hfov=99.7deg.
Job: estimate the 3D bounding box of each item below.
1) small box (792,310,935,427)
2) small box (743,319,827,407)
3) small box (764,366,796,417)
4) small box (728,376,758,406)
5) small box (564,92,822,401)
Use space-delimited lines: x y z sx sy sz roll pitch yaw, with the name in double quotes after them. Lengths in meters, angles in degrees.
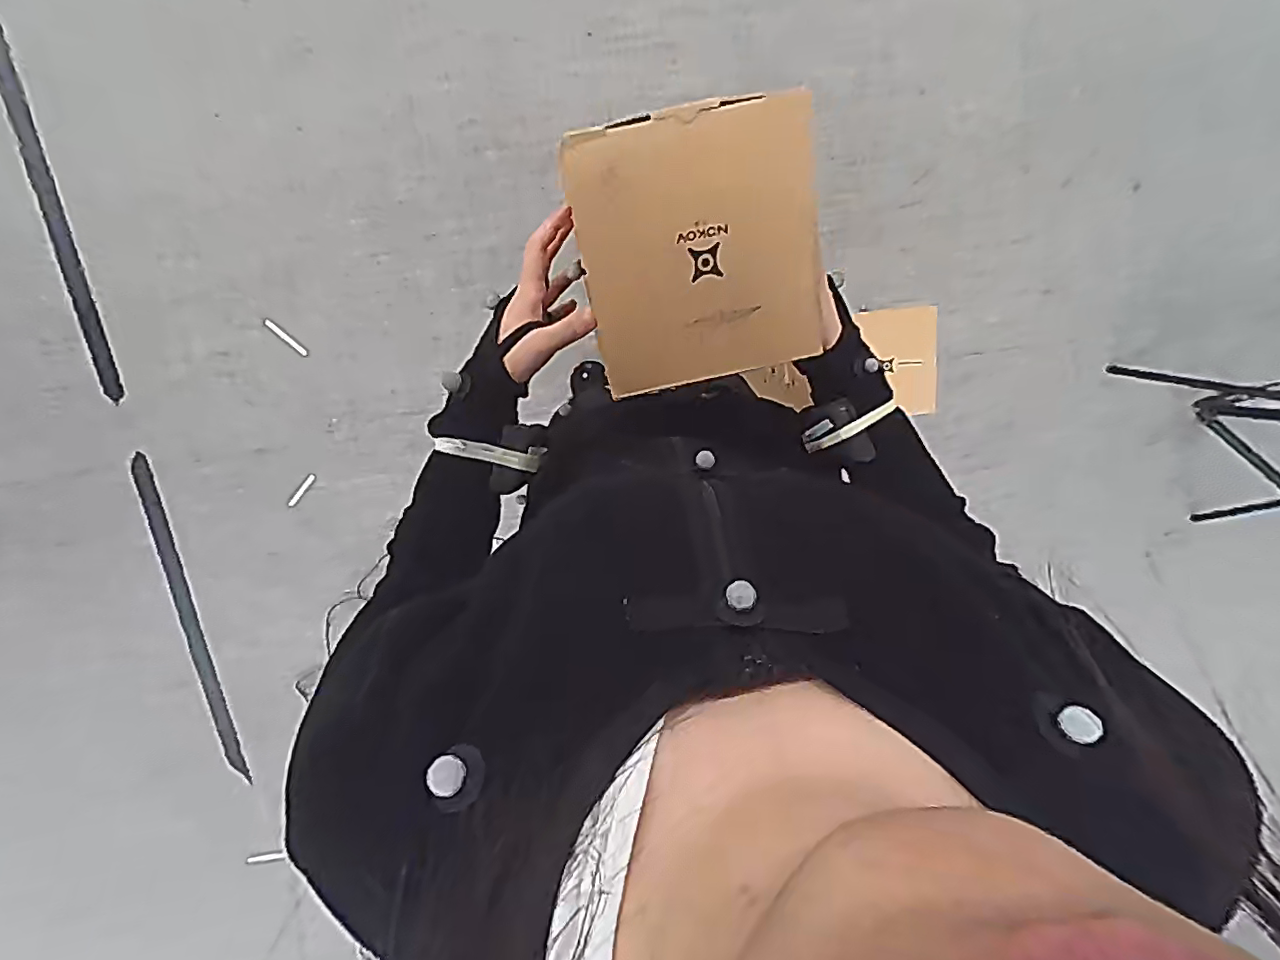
0.360 -0.185 0.905 0.179 0.176 0.168 -7 103 -4 "small box"
0.330 -0.263 1.222 0.168 0.176 0.179 -5 103 -2 "small box"
0.346 -0.218 1.066 0.179 0.176 0.168 -6 103 -2 "small box"
0.322 -0.293 1.384 0.168 0.176 0.179 -8 103 -2 "small box"
0.034 -0.184 0.444 0.168 0.176 0.179 -12 116 -2 "small box"
